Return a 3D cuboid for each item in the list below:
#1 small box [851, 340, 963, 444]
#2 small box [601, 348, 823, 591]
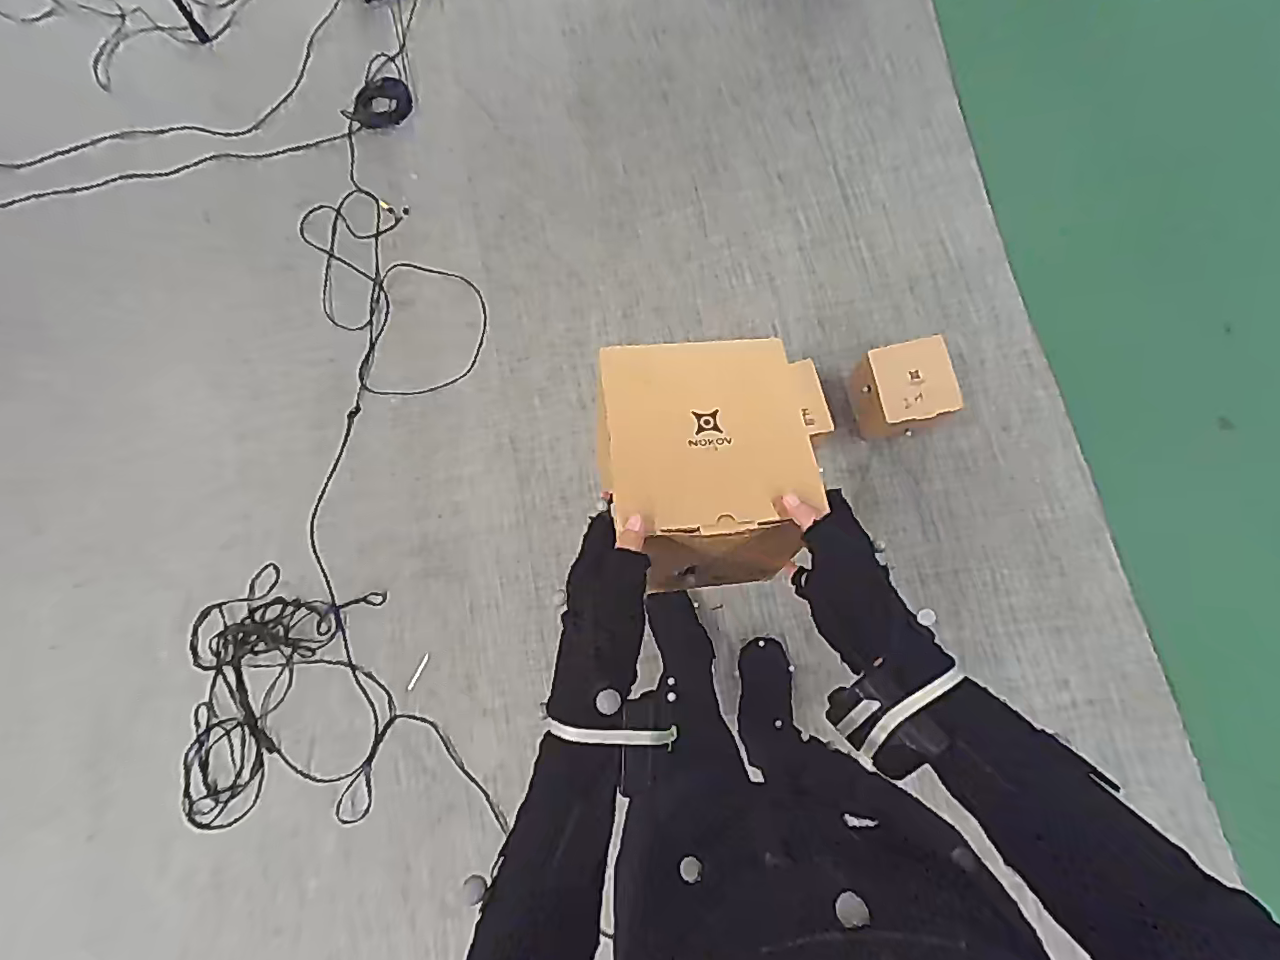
[{"bbox_3d":[0.610,-0.198,1.261,0.168,0.176,0.179,-11,79,6],"label":"small box"},{"bbox_3d":[0.050,-0.004,0.526,0.168,0.176,0.179,-5,65,-6],"label":"small box"}]
